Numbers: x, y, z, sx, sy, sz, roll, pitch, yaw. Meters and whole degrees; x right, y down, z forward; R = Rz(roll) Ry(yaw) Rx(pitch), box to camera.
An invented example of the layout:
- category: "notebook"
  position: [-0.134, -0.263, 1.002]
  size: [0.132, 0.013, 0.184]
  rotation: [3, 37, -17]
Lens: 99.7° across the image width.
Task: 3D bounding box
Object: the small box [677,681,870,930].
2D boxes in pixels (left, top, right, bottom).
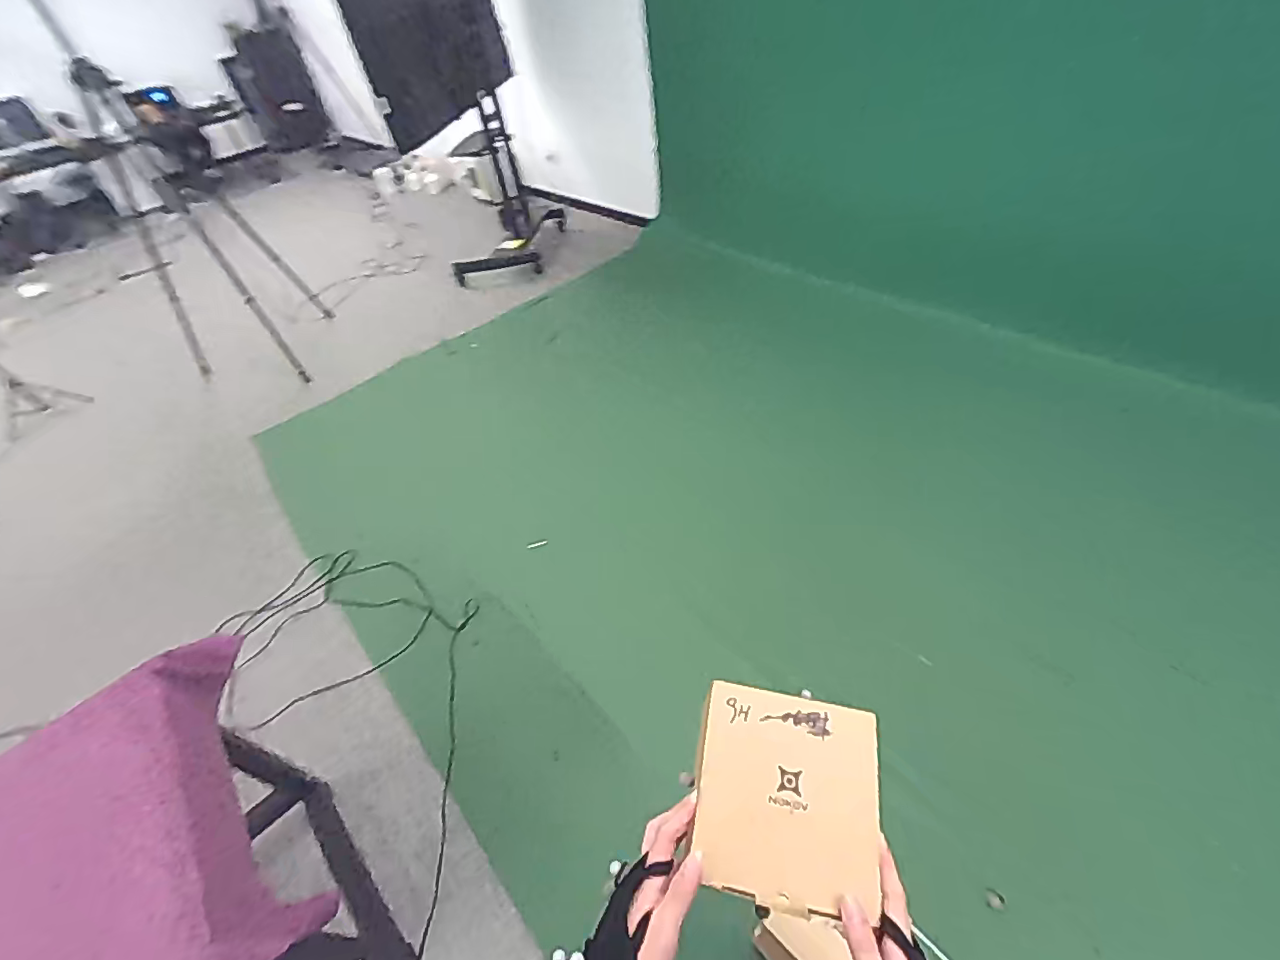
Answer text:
- category: "small box"
  position: [0.133, 0.336, 0.572]
  size: [0.168, 0.176, 0.179]
  rotation: [9, 57, 7]

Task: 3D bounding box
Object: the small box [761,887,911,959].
- category: "small box"
  position: [0.320, 0.765, 0.918]
  size: [0.179, 0.176, 0.168]
  rotation: [31, 58, 33]
